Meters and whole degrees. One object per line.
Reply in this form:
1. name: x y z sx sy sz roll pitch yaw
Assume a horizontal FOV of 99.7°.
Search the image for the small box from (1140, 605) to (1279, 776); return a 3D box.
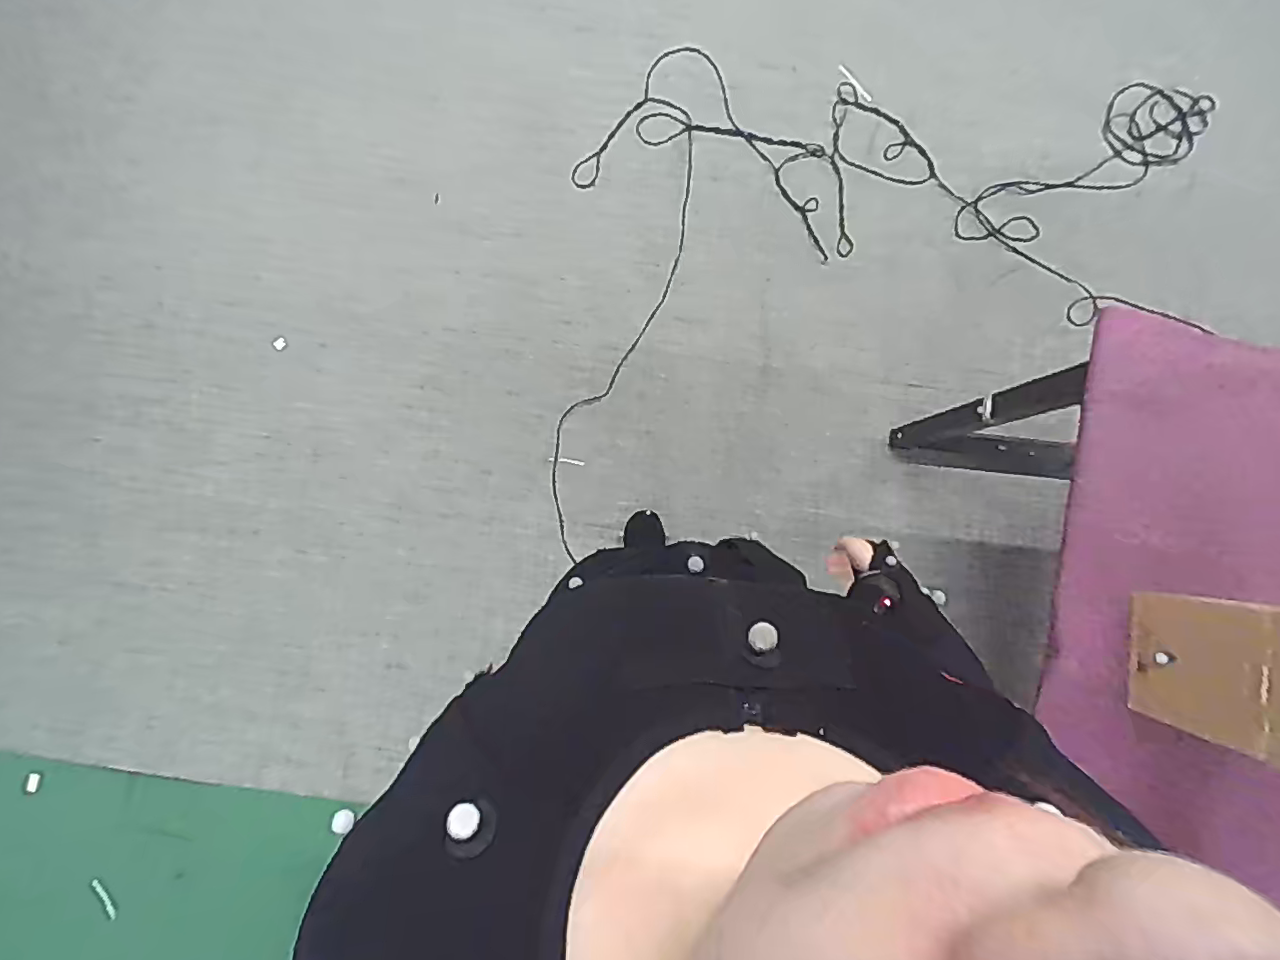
1. small box: 0.777 0.252 0.660 0.179 0.176 0.168 6 85 0
